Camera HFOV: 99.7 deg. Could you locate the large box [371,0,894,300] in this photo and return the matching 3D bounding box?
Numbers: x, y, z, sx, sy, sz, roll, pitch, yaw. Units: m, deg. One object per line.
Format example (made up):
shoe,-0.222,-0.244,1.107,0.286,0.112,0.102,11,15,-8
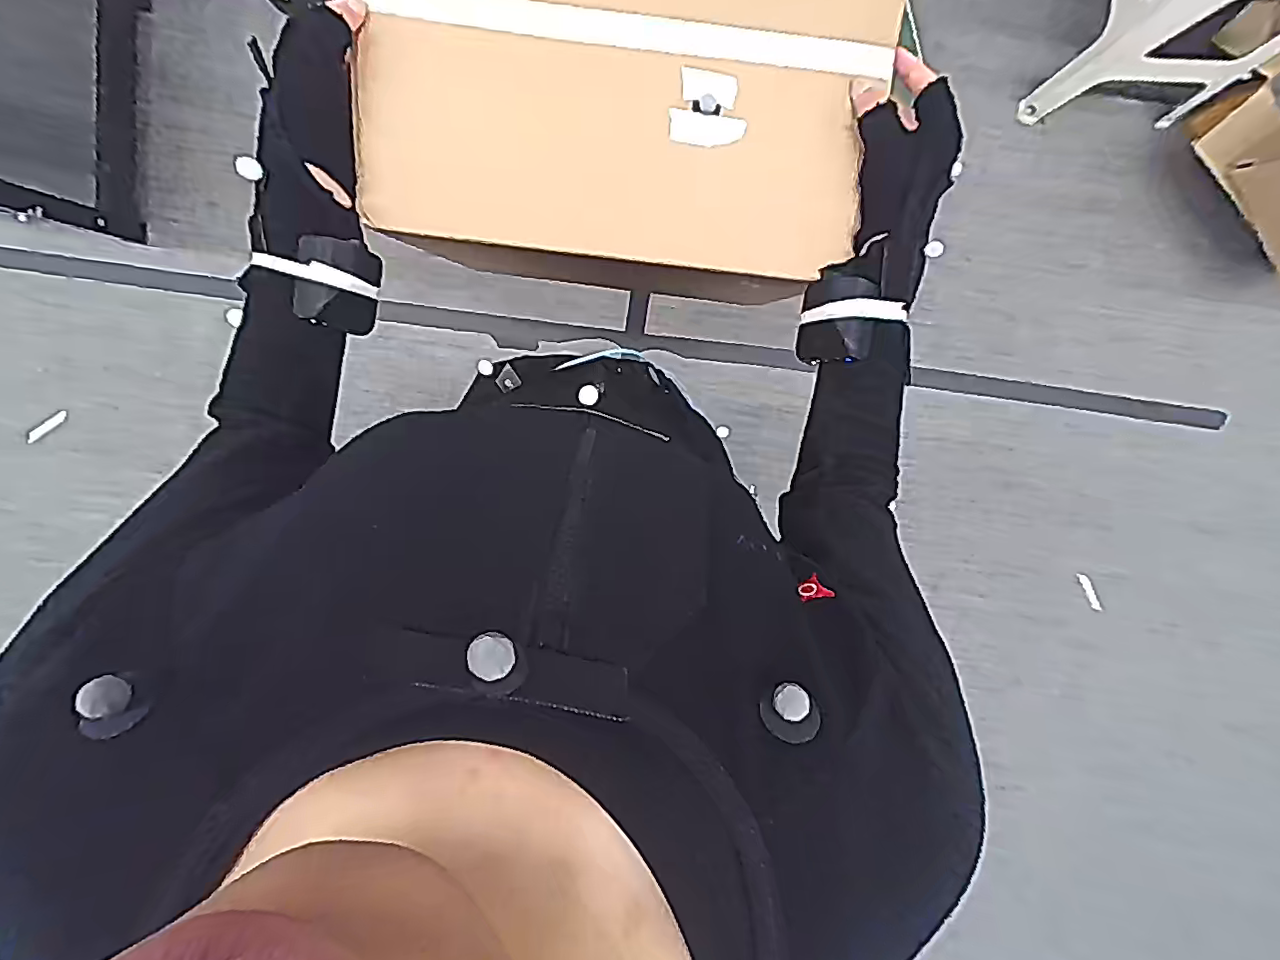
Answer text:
large box,-0.013,-0.376,0.564,0.408,0.320,0.320,6,106,-3
